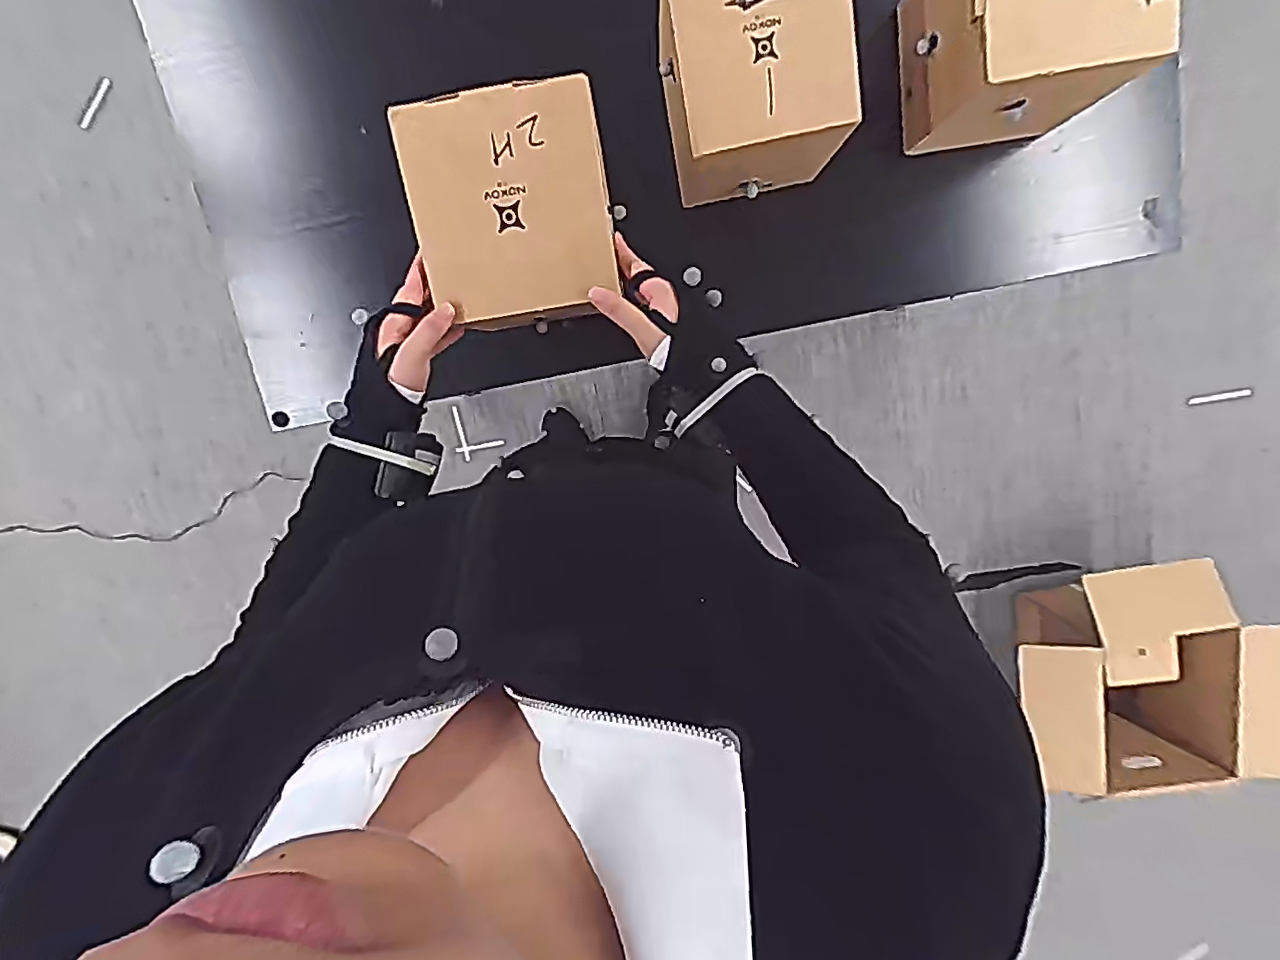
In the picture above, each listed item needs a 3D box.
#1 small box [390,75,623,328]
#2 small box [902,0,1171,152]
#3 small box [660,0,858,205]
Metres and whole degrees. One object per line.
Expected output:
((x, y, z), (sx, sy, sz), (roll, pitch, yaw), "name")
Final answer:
((-0.110, -0.249, 0.531), (0.168, 0.176, 0.179), (-9, 104, 2), "small box")
((0.391, -0.472, 0.565), (0.179, 0.176, 0.168), (-7, 101, 4), "small box")
((0.115, -0.426, 0.581), (0.168, 0.176, 0.179), (-10, 101, 4), "small box")
